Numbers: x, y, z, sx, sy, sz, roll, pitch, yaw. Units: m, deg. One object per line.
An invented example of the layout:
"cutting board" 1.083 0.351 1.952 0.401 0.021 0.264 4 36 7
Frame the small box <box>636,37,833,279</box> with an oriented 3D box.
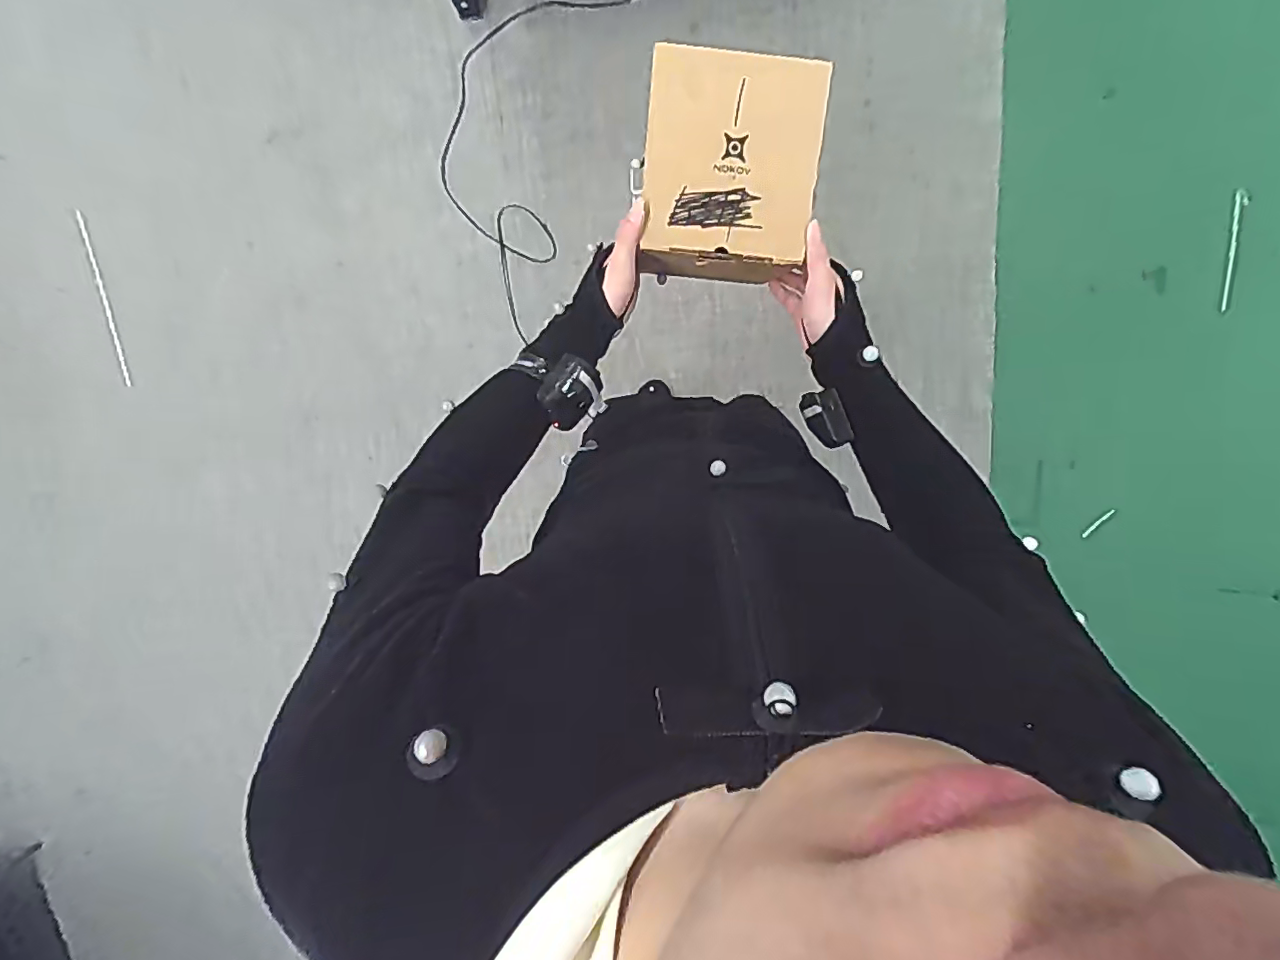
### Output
"small box" 0.084 -0.321 0.578 0.168 0.176 0.179 4 102 -3
